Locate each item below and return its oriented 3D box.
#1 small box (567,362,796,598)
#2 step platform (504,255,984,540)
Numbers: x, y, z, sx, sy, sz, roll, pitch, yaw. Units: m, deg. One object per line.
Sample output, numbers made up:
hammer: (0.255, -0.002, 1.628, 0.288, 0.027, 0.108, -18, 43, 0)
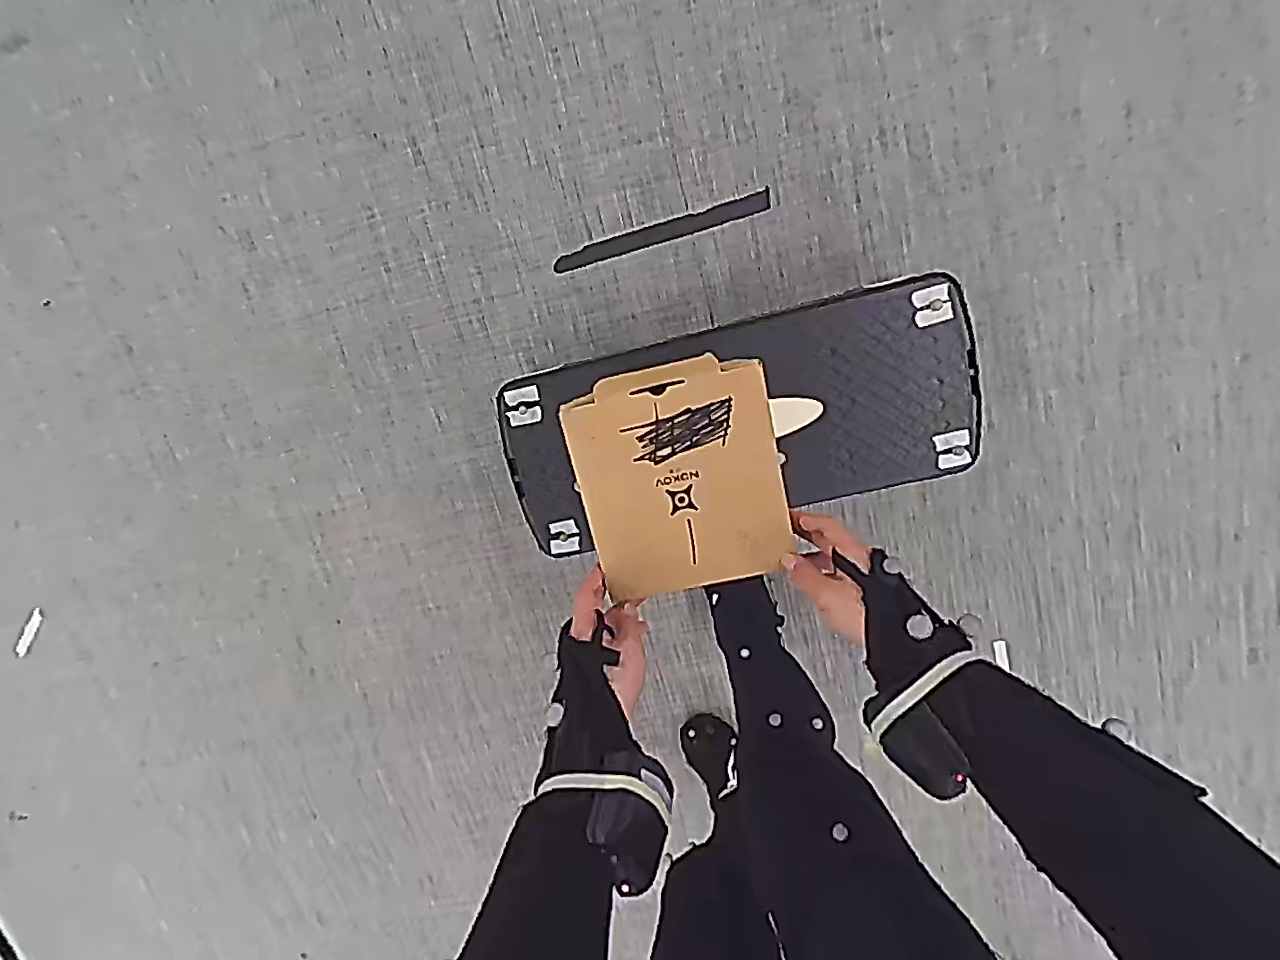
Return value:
small box: (0.040, -0.011, 0.526, 0.168, 0.176, 0.179, -12, 102, 7)
step platform: (0.142, -0.118, 0.842, 0.684, 0.204, 0.286, -13, 101, 7)
